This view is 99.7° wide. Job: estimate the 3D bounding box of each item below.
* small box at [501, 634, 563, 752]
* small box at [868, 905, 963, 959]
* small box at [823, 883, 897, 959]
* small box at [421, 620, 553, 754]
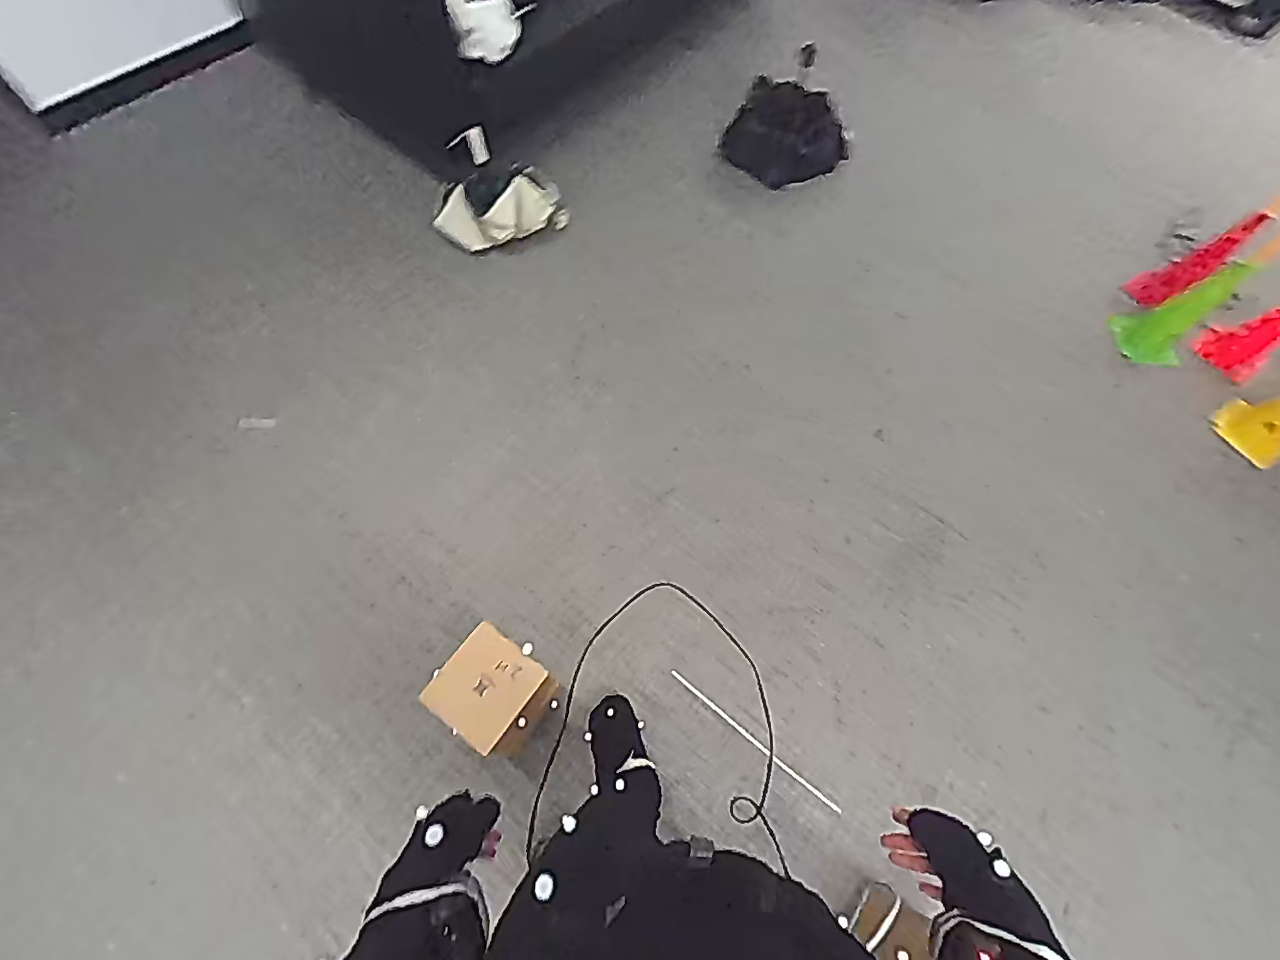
[{"bbox_3d":[-0.287,0.476,1.210,0.168,0.176,0.179,35,69,12],"label":"small box"},{"bbox_3d":[0.503,0.878,0.911,0.168,0.176,0.179,40,68,13],"label":"small box"},{"bbox_3d":[0.484,0.949,1.058,0.168,0.176,0.179,39,70,12],"label":"small box"},{"bbox_3d":[-0.287,0.406,1.061,0.168,0.176,0.179,35,68,11],"label":"small box"}]
